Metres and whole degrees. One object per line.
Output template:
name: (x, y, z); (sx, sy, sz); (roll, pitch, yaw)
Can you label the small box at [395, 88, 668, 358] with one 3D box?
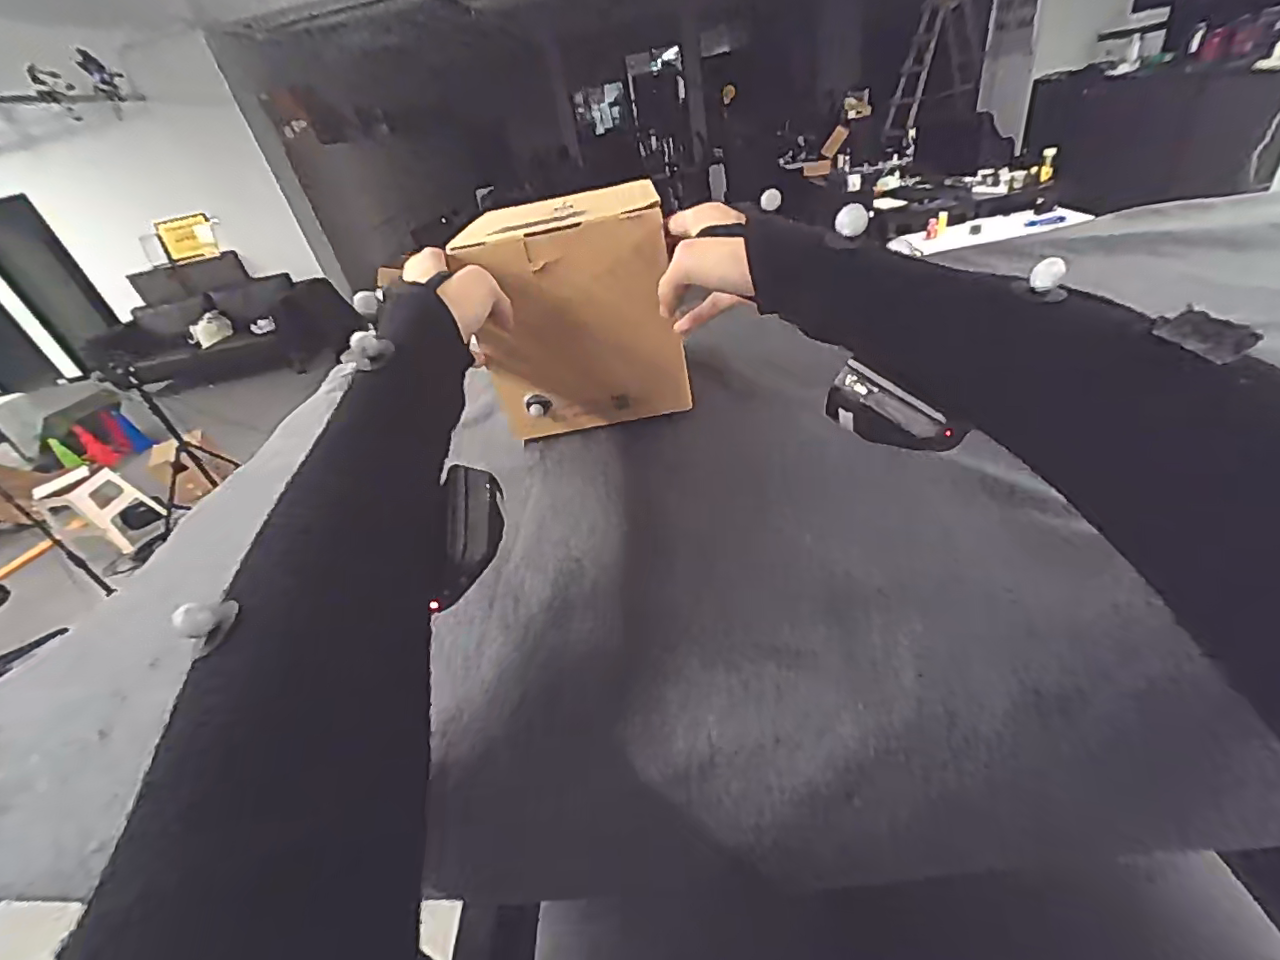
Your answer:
small box: (-0.072, -0.214, 0.463); (0.168, 0.176, 0.179); (-9, 34, 4)
